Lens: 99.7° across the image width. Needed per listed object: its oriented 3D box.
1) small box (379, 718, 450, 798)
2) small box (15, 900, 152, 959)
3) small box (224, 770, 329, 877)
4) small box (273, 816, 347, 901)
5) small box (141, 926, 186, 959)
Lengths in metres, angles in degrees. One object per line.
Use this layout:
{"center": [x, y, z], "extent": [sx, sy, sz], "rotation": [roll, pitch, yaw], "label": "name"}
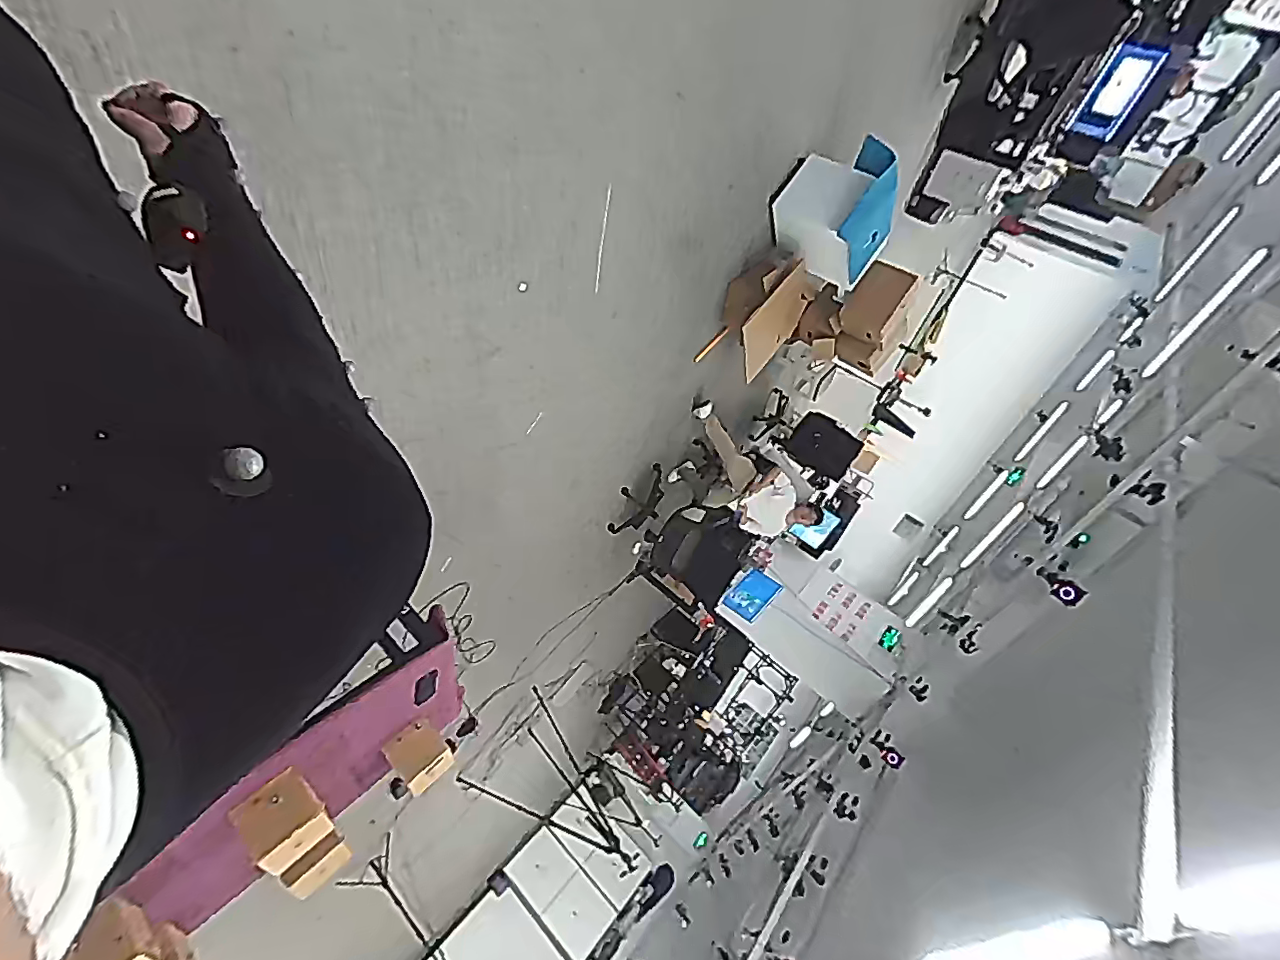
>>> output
{"center": [-0.806, 0.986, 1.932], "extent": [0.168, 0.176, 0.179], "rotation": [-36, 152, -36], "label": "small box"}
{"center": [-1.248, 1.100, 1.220], "extent": [0.168, 0.176, 0.179], "rotation": [-34, 151, -43], "label": "small box"}
{"center": [-0.999, 0.943, 1.492], "extent": [0.168, 0.176, 0.179], "rotation": [-35, 152, -38], "label": "small box"}
{"center": [-1.061, 1.172, 1.705], "extent": [0.168, 0.176, 0.179], "rotation": [-35, 151, -40], "label": "small box"}
{"center": [-1.319, 1.331, 1.426], "extent": [0.168, 0.176, 0.179], "rotation": [-33, 150, -43], "label": "small box"}
